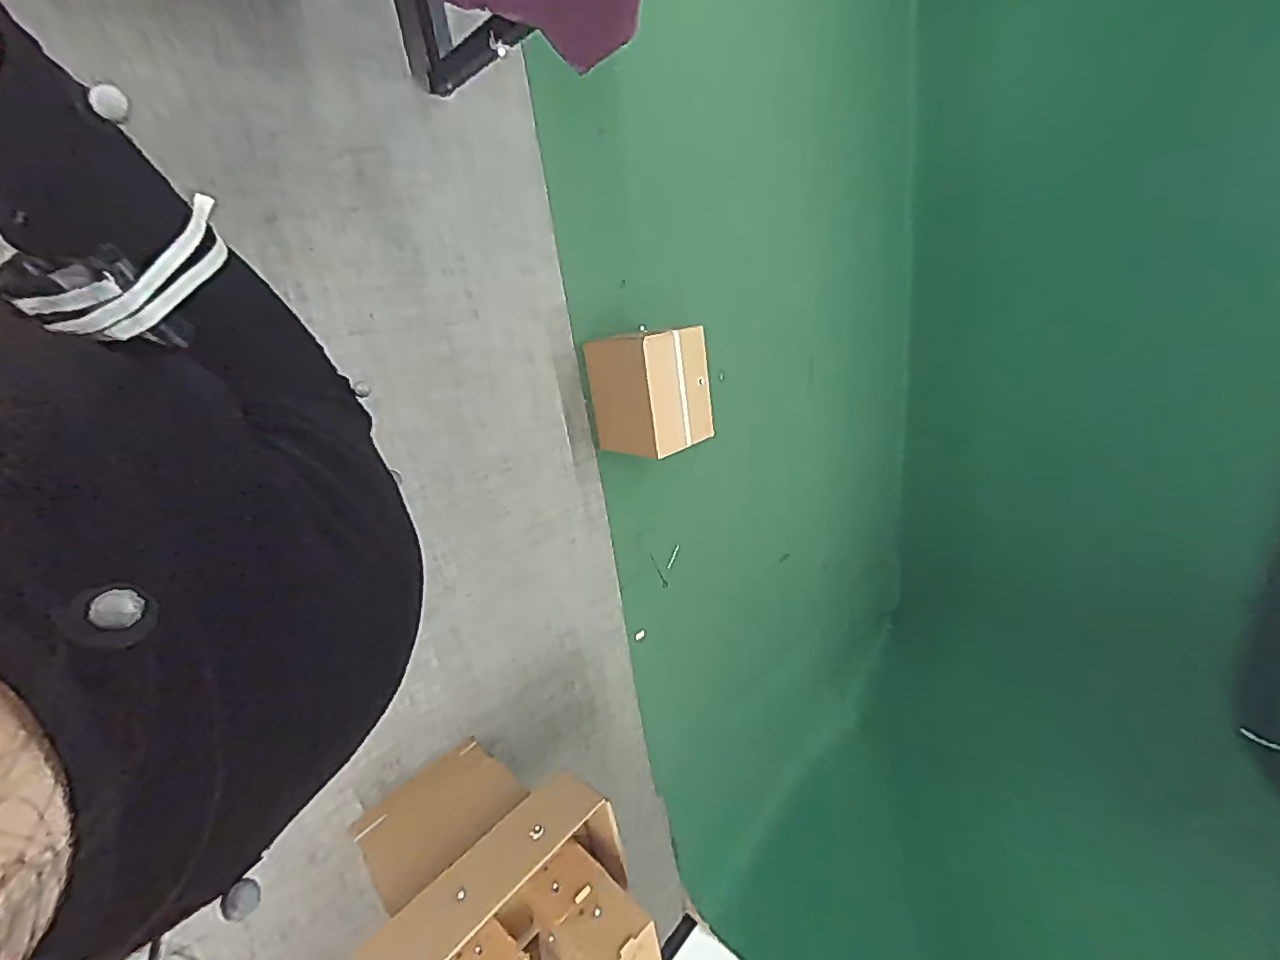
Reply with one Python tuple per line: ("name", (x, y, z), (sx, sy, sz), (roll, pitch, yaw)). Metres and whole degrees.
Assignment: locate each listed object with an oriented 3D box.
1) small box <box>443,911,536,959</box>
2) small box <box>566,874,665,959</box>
("small box", (-0.349, 1.201, 1.298), (0.168, 0.176, 0.179), (-28, 117, -40))
("small box", (-0.061, 1.141, 1.341), (0.168, 0.176, 0.179), (-27, 116, -39))
